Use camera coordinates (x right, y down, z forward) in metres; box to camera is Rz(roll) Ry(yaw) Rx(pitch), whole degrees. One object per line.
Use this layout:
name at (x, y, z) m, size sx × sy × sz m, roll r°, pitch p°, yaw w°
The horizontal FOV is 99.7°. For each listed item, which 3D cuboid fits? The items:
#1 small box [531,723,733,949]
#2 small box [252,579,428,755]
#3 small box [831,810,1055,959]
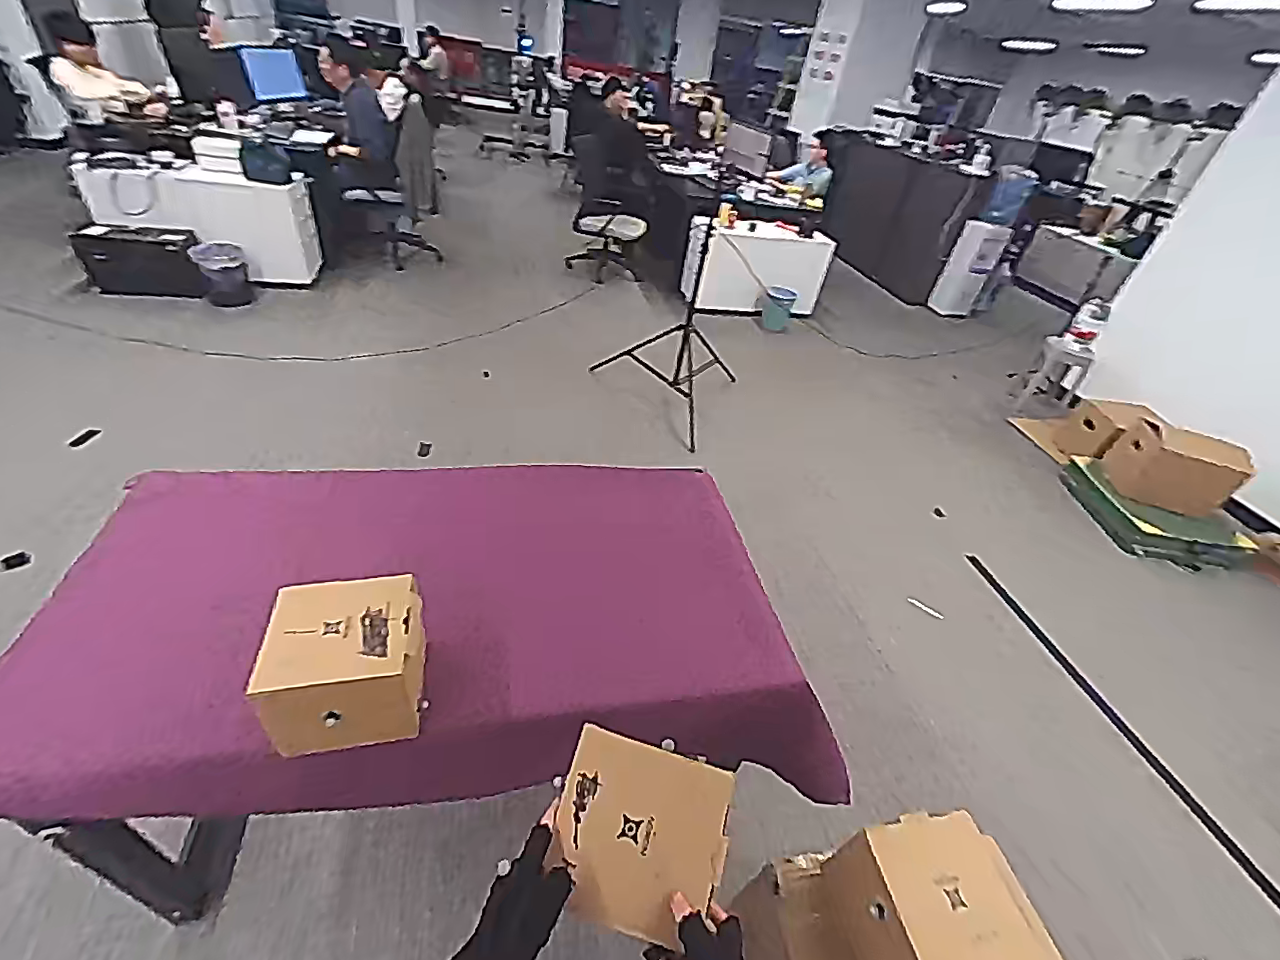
small box at (-0.008, 0.396, 0.633) m, size 0.179 × 0.176 × 0.168 m, roll 16°, pitch 63°, yaw 4°
small box at (-0.406, 0.263, 0.771) m, size 0.179 × 0.176 × 0.168 m, roll -3°, pitch 39°, yaw -15°
small box at (0.385, 0.579, 0.725) m, size 0.168 × 0.176 × 0.179 m, roll -2°, pitch 41°, yaw -12°
